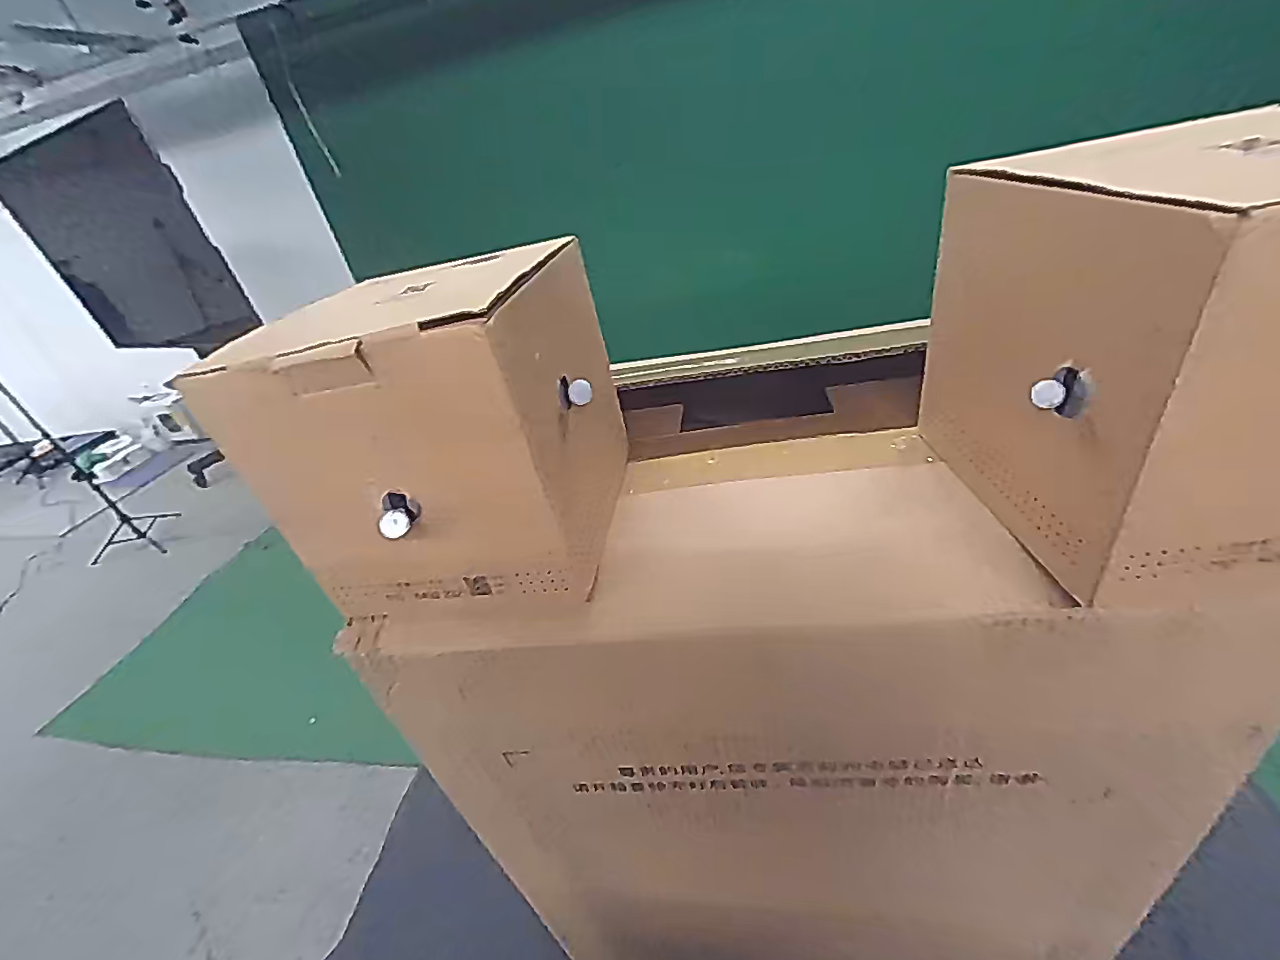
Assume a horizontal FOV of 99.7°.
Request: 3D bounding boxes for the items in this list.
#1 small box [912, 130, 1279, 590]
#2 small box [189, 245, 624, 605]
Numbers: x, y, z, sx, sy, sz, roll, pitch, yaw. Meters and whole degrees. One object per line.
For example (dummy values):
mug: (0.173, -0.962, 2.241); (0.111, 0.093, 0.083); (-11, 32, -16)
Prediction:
small box: (0.261, -0.061, 0.270); (0.168, 0.176, 0.179); (-8, 32, 3)
small box: (-0.114, -0.033, 0.354); (0.168, 0.176, 0.179); (-6, 34, 12)
